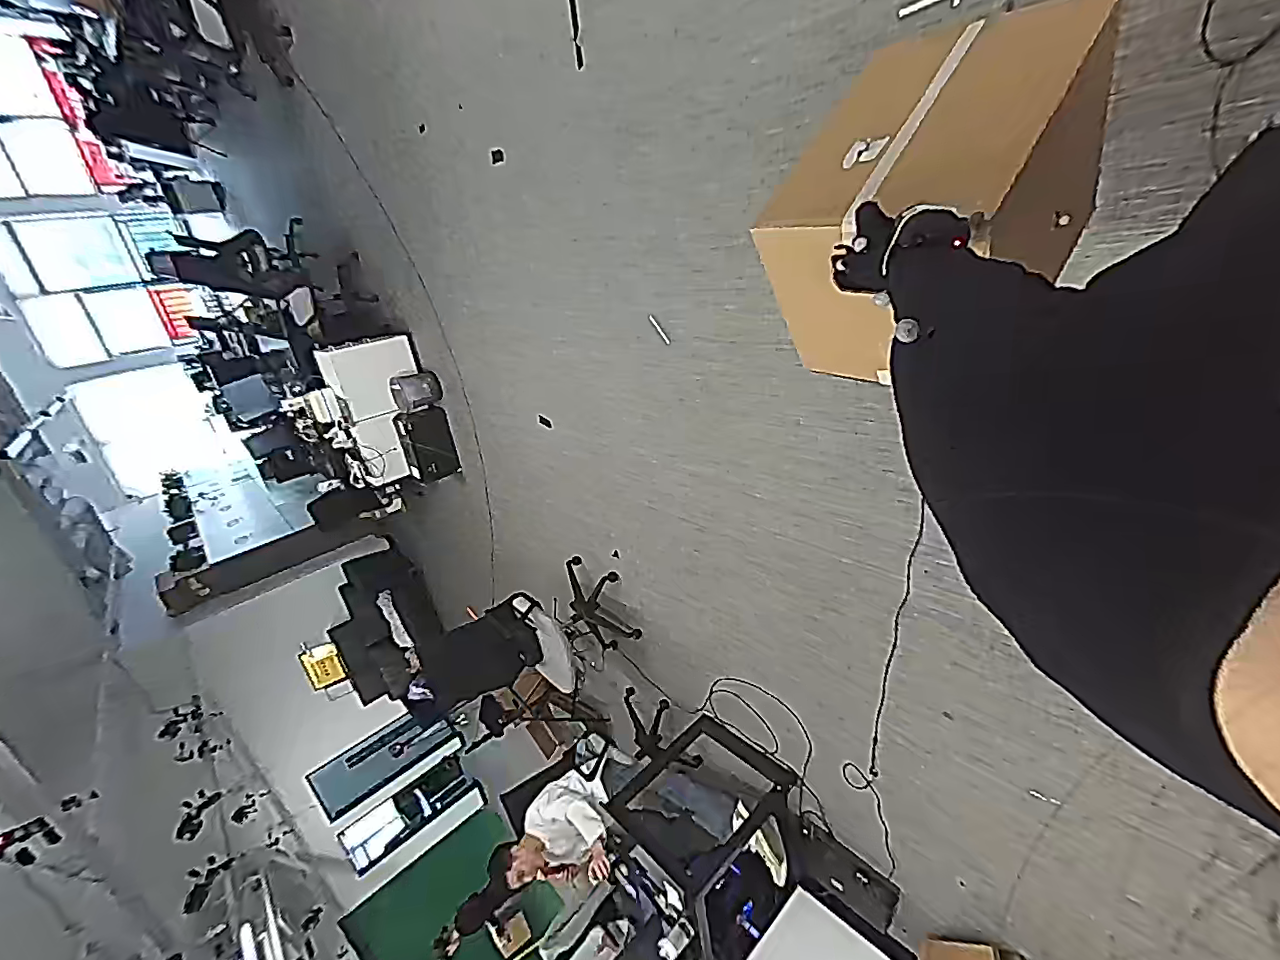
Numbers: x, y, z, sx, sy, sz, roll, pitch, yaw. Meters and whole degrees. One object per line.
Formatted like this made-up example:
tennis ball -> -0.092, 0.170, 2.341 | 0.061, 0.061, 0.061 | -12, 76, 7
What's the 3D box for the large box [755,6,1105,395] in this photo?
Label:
large box -> 0.447, -0.403, 0.841 | 0.320, 0.408, 0.320 | 23, 164, 43
